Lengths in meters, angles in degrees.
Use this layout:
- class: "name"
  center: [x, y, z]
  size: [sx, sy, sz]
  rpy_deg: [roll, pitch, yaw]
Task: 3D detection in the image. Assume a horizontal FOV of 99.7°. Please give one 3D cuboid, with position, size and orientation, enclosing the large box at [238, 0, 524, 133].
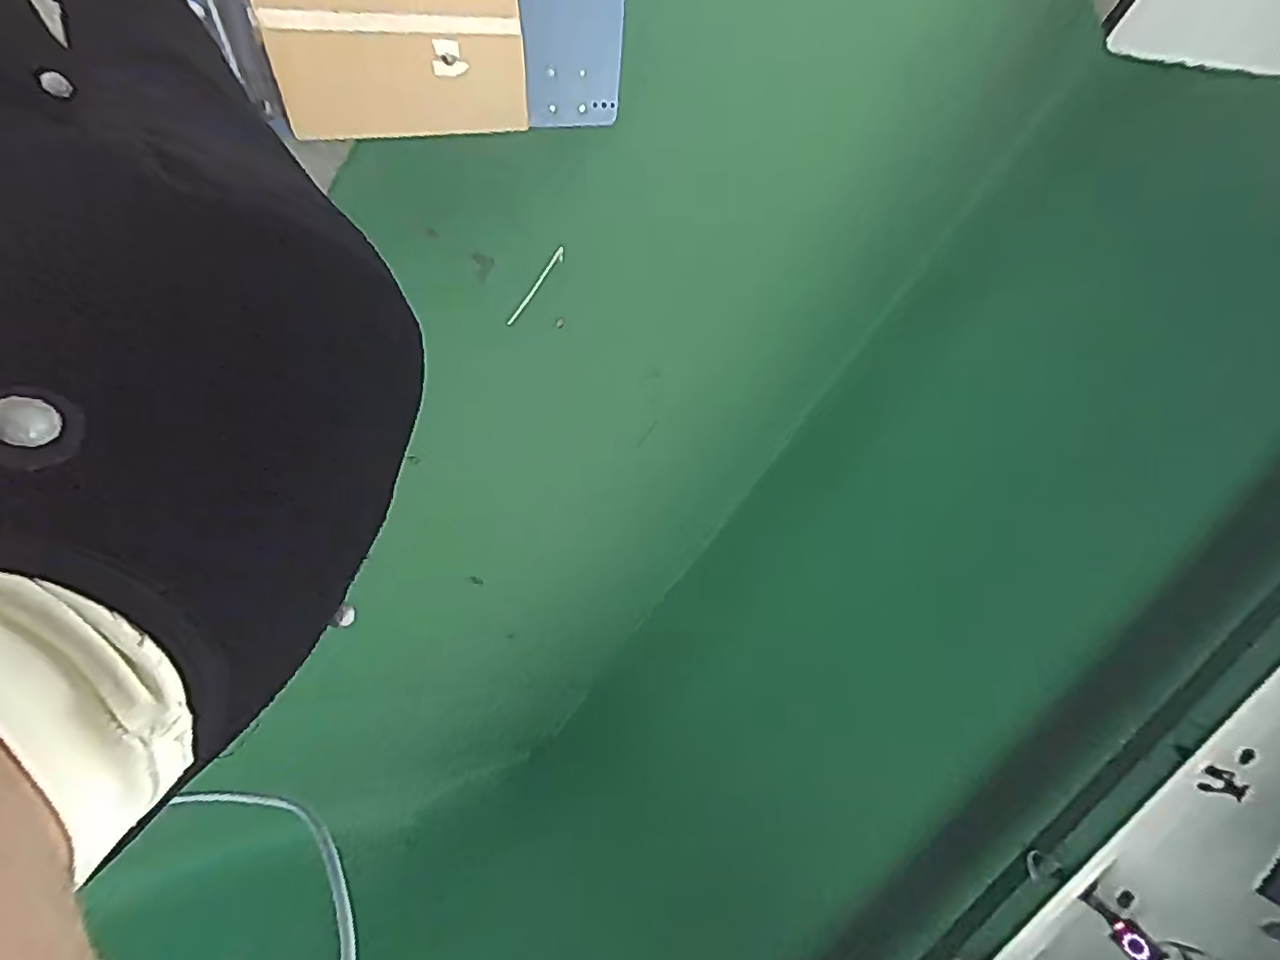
- class: "large box"
  center: [-0.459, -0.821, 0.939]
  size: [0.408, 0.320, 0.320]
  rpy_deg: [-20, 138, -25]
